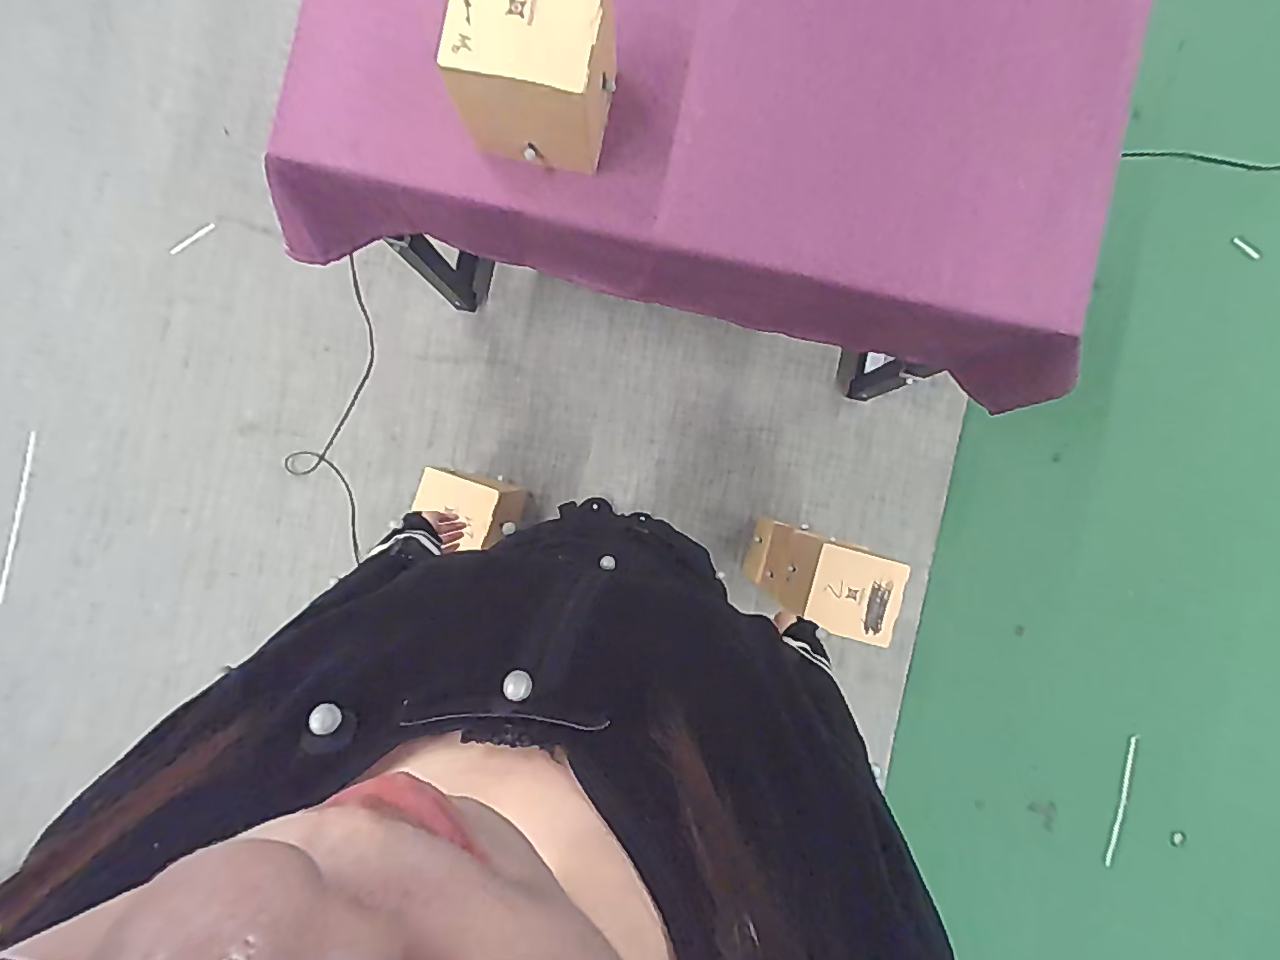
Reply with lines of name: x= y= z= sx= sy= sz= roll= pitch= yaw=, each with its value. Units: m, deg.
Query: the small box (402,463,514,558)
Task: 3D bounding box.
small box: x=-0.416 y=0.069 z=1.263 sx=0.179 sy=0.176 sz=0.168 roll=19 pitch=90 yaw=-1

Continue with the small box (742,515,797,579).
small box: x=0.385 y=0.194 z=1.438 sx=0.179 sy=0.176 sz=0.168 roll=17 pitch=90 yaw=-2

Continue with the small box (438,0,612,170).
small box: x=-0.134 y=-0.537 z=0.701 sx=0.179 sy=0.176 sz=0.168 roll=11 pitch=89 yaw=-1

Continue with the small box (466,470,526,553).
small box: x=-0.413 y=0.078 z=1.428 sx=0.168 sy=0.176 sz=0.179 roll=16 pitch=89 yaw=-1

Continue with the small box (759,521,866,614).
small box: x=0.396 y=0.198 z=1.276 sx=0.179 sy=0.176 sz=0.168 roll=14 pitch=91 yaw=-2
